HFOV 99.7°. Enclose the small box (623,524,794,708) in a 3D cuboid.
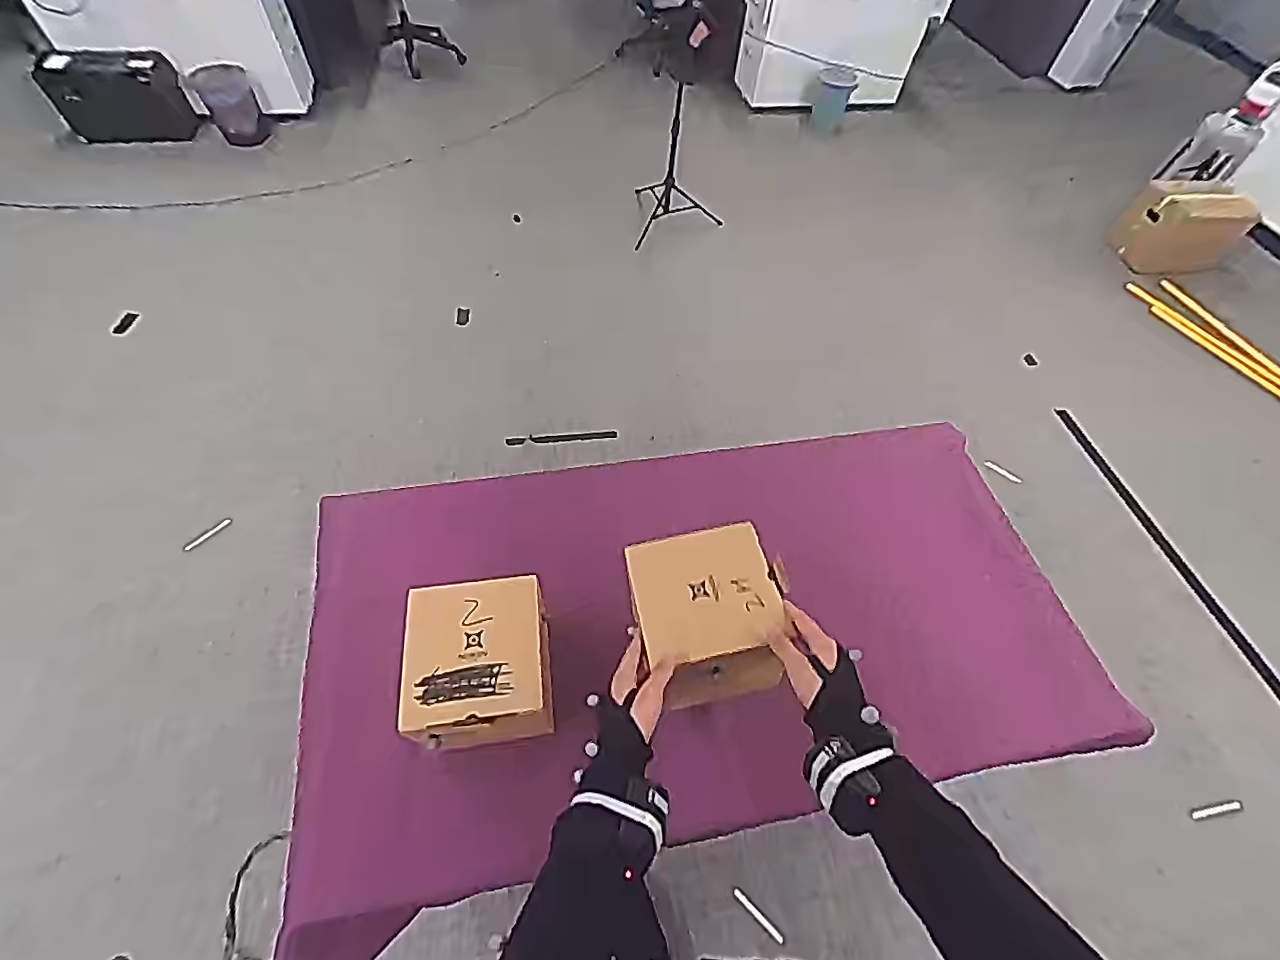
[{"bbox_3d":[0.082,0.185,0.719,0.179,0.176,0.168,-11,52,-5],"label":"small box"}]
